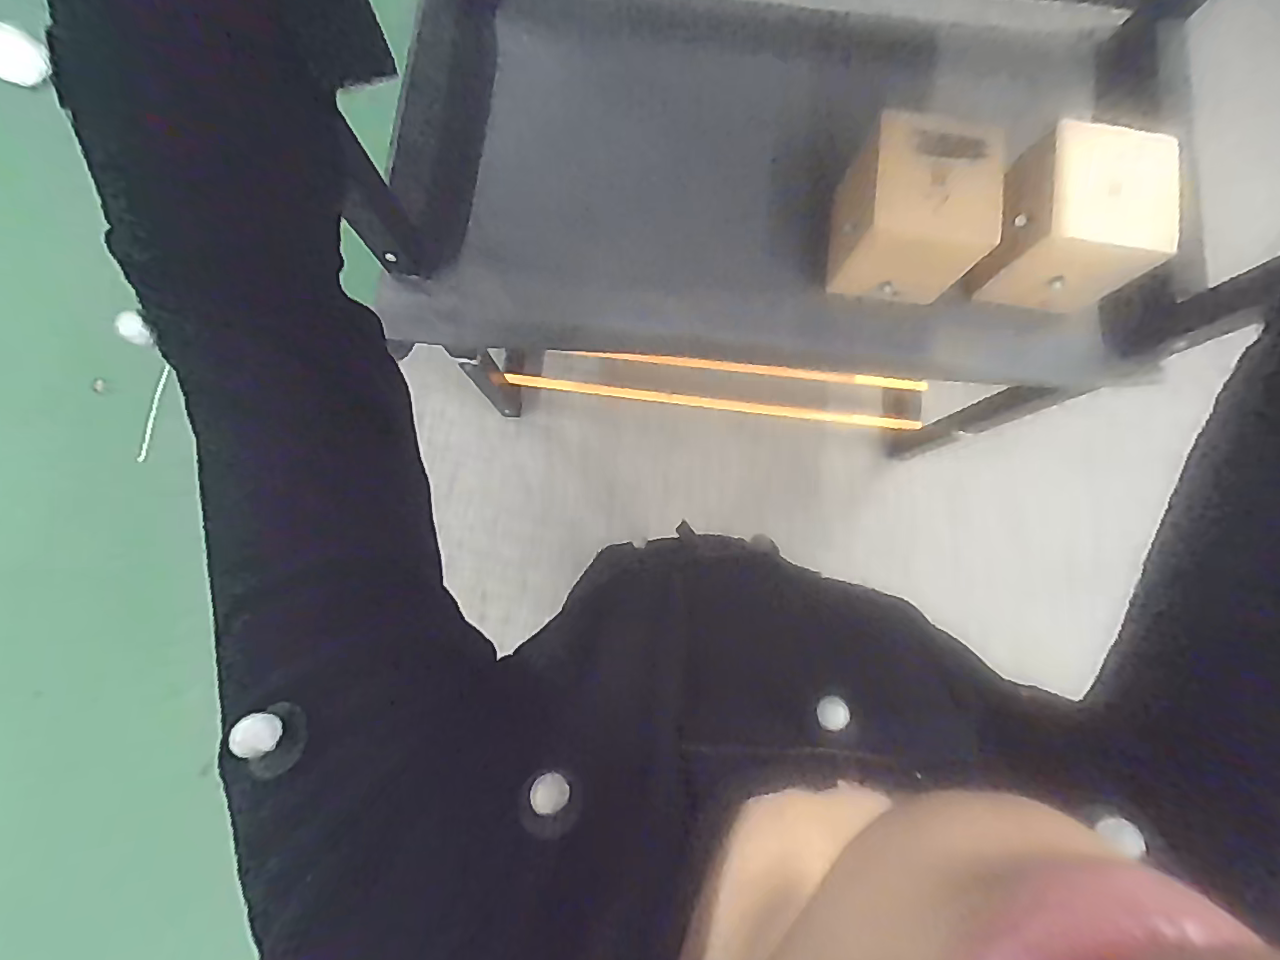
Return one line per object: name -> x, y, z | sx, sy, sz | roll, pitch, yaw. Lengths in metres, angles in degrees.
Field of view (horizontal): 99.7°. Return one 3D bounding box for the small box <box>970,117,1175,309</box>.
small box -> 0.607, -0.370, 0.779 | 0.168, 0.176, 0.179 | 10, 80, 0
